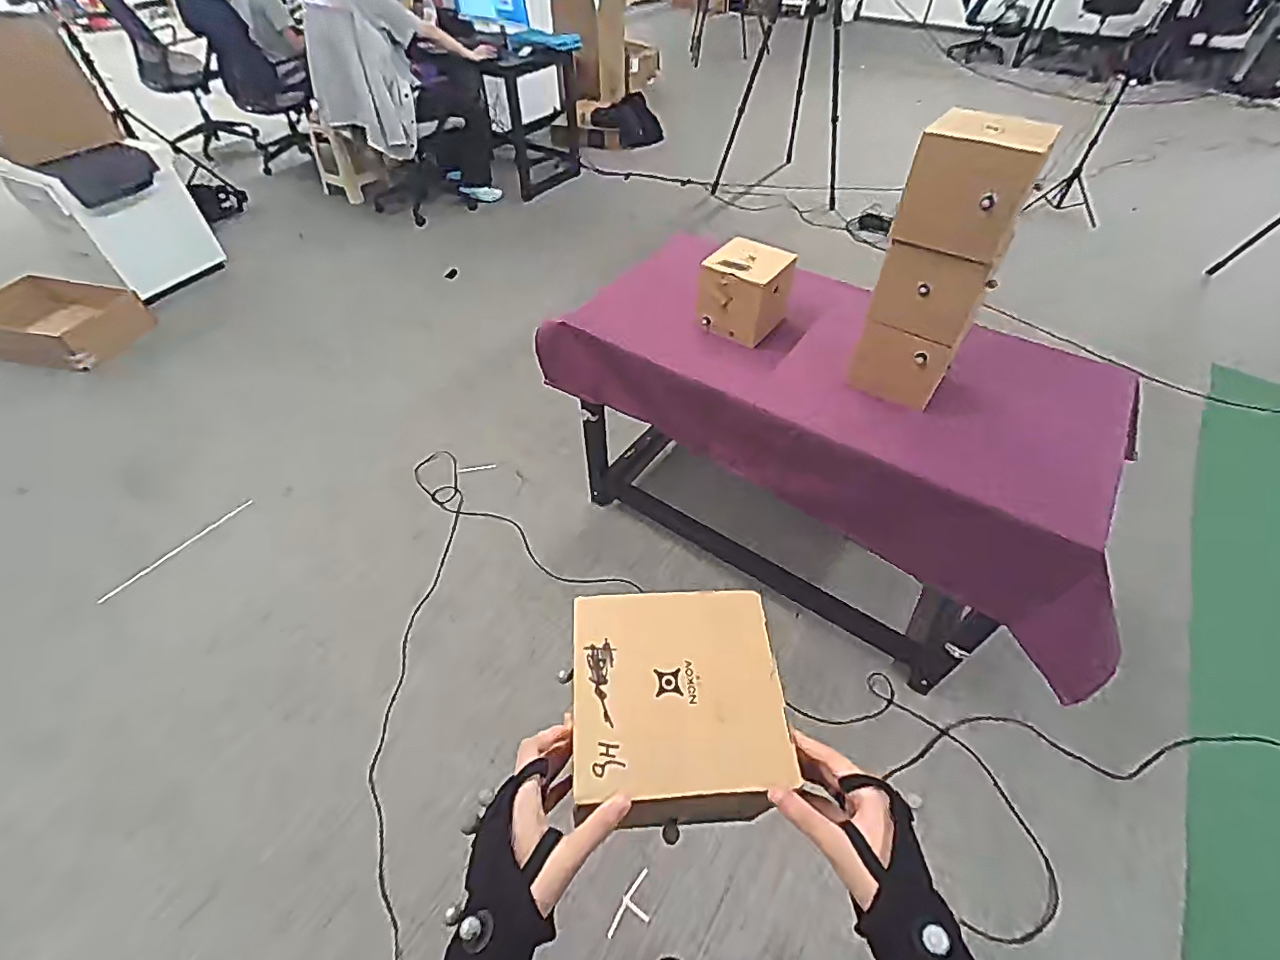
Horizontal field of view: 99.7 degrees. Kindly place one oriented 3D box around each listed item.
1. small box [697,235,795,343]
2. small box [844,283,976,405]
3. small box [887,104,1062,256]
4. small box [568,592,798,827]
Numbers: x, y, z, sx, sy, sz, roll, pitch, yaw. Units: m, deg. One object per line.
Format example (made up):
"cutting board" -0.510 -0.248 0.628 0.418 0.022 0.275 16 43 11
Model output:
"small box" 0.250 -0.459 1.306 0.168 0.176 0.179 29 54 22
"small box" 0.568 -0.285 1.154 0.179 0.176 0.168 30 55 23
"small box" 0.550 -0.498 0.905 0.179 0.176 0.168 29 54 23
"small box" 0.023 0.219 0.512 0.179 0.176 0.168 1 50 -6
